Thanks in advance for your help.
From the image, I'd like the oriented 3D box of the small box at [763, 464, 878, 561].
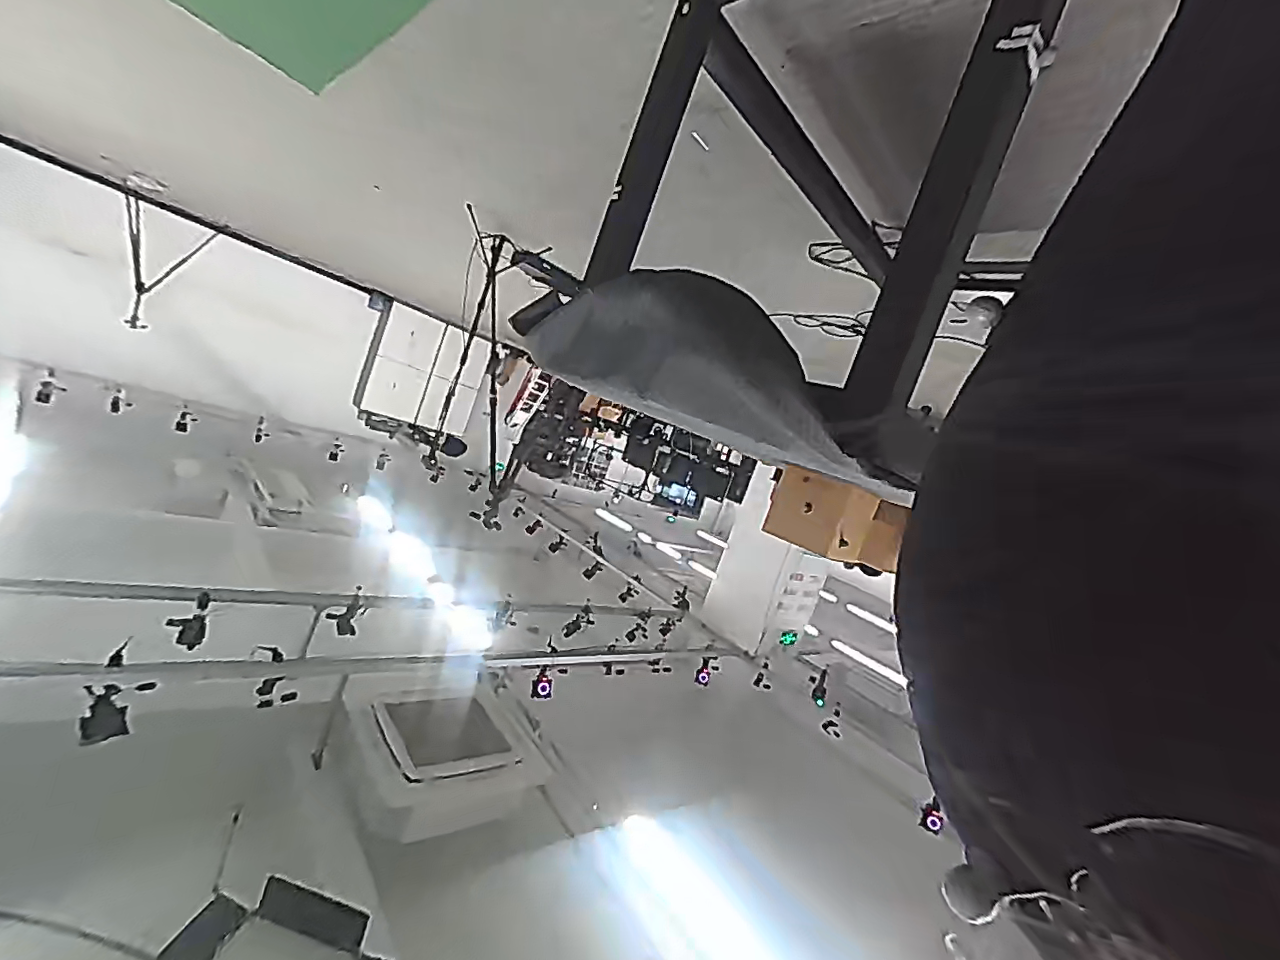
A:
[{"bbox_3d":[0.418,0.072,1.245,0.168,0.176,0.179,24,-174,42],"label":"small box"}]
